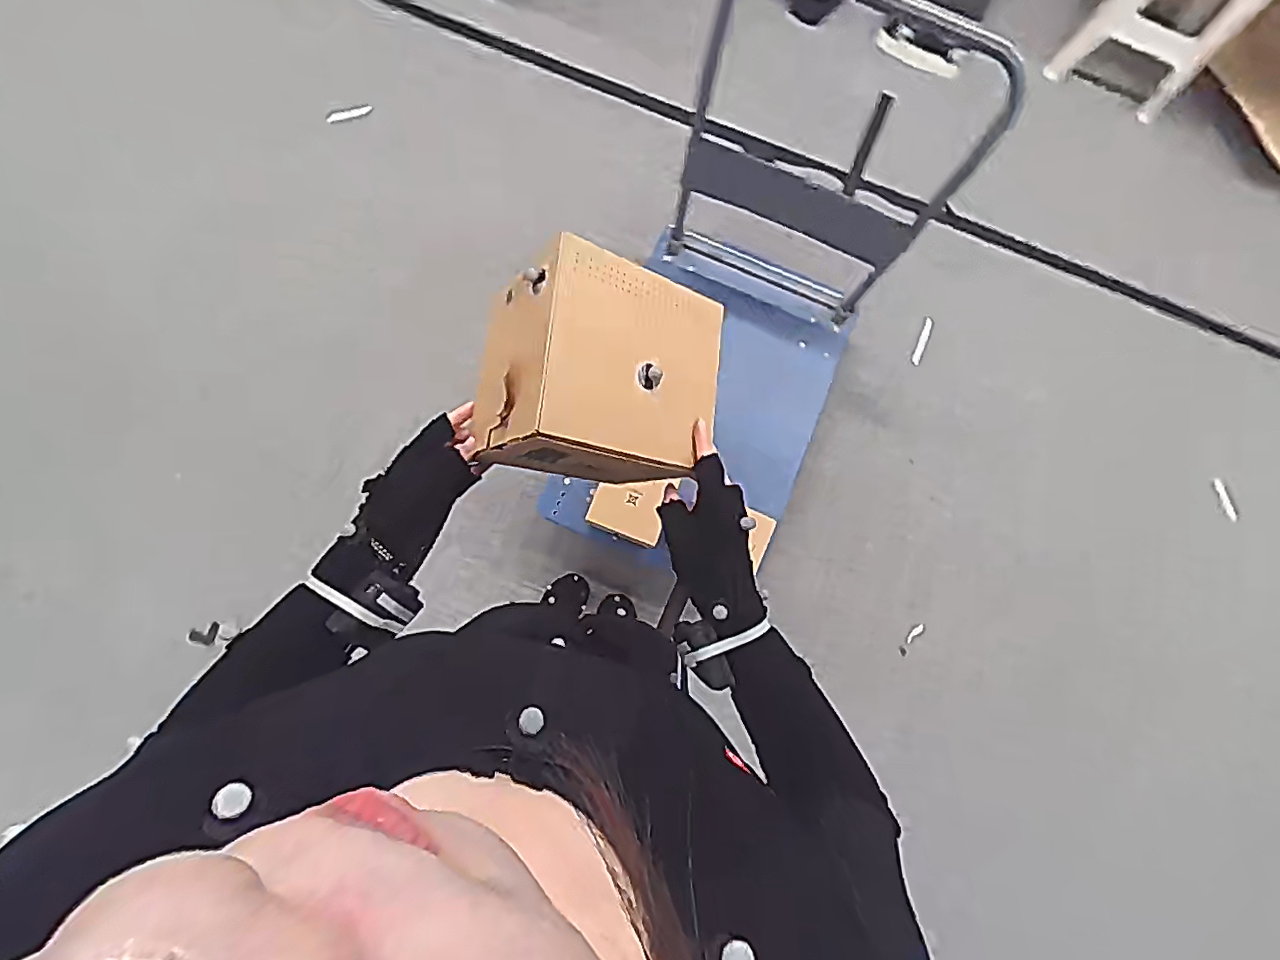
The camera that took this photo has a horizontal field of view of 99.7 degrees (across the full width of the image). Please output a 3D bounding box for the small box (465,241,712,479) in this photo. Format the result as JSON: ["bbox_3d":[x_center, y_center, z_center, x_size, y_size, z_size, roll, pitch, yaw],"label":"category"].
[{"bbox_3d":[-0.049,-0.101,0.519,0.179,0.168,0.176,9,81,-35],"label":"small box"}]

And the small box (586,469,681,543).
[{"bbox_3d":[-0.015,0.040,1.269,0.168,0.176,0.179,22,81,0],"label":"small box"}]
